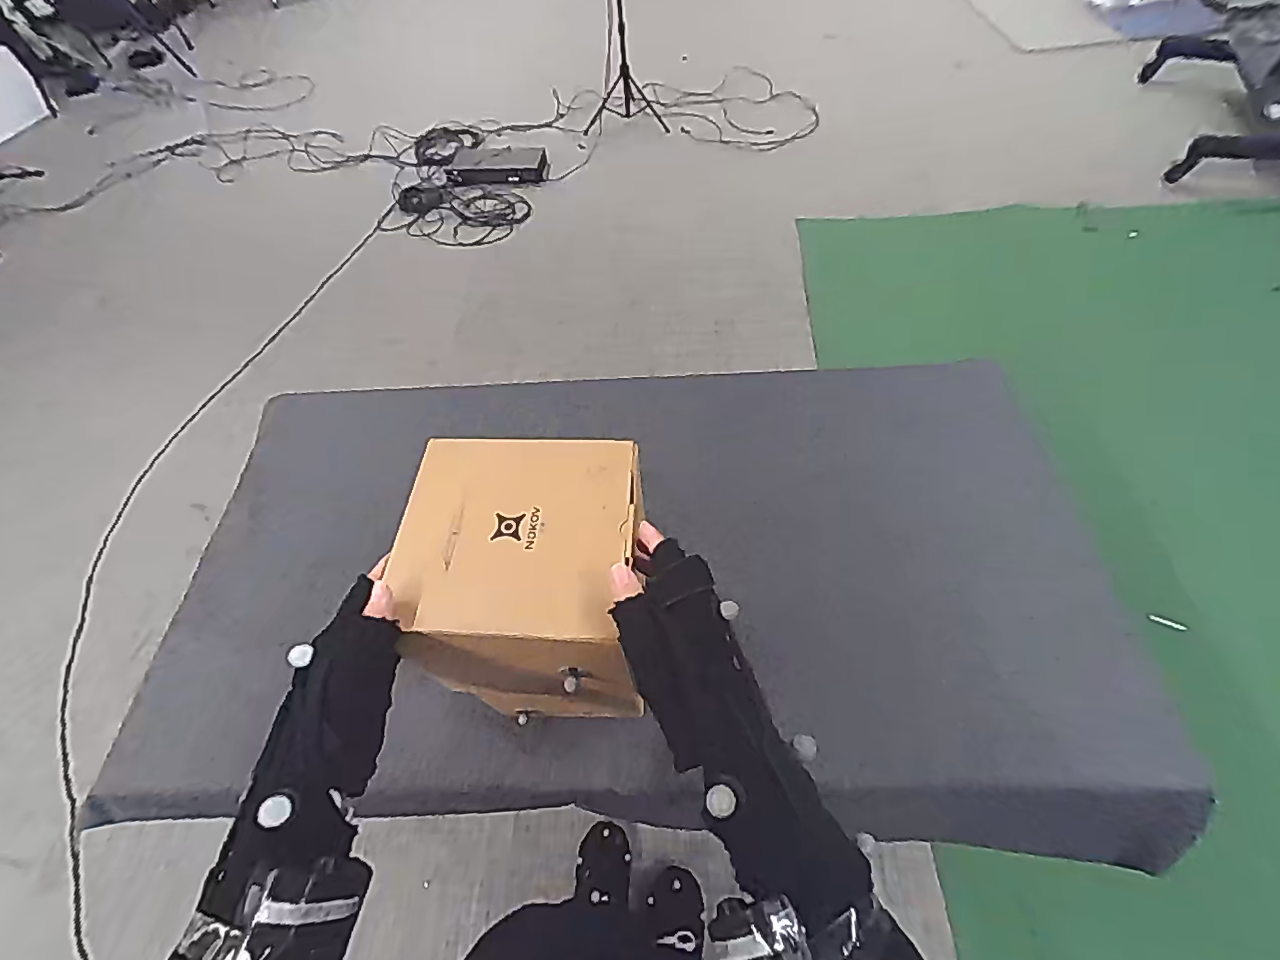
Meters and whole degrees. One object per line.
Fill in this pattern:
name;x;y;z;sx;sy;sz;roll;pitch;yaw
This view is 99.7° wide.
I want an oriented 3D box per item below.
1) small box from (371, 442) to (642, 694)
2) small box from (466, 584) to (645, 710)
small box;-0.091;0.082;0.475;0.179;0.176;0.168;0;55;5
small box;-0.084;0.159;0.618;0.168;0.176;0.179;-4;57;2
